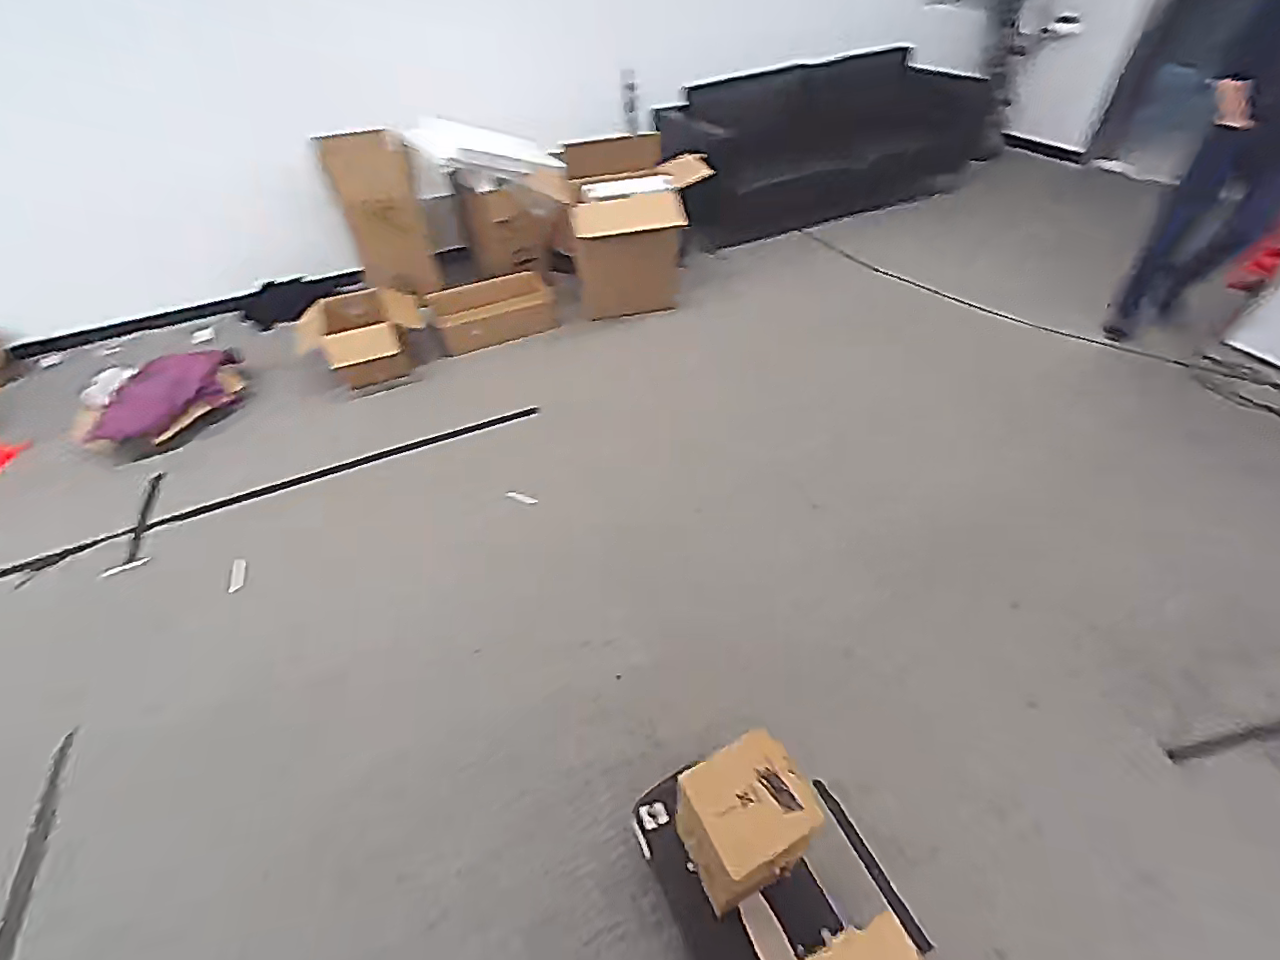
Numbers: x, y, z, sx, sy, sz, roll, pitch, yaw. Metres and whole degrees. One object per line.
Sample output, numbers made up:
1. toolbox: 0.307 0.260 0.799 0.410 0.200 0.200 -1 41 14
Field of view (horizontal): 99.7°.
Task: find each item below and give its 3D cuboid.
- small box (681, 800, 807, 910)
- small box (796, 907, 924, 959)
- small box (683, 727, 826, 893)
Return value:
1. small box: 0.188 0.684 1.038 0.179 0.176 0.168 -20 47 -16
2. small box: 0.317 0.739 0.742 0.168 0.176 0.179 -17 45 -13
3. small box: 0.183 0.564 0.925 0.179 0.176 0.168 -22 48 -16
